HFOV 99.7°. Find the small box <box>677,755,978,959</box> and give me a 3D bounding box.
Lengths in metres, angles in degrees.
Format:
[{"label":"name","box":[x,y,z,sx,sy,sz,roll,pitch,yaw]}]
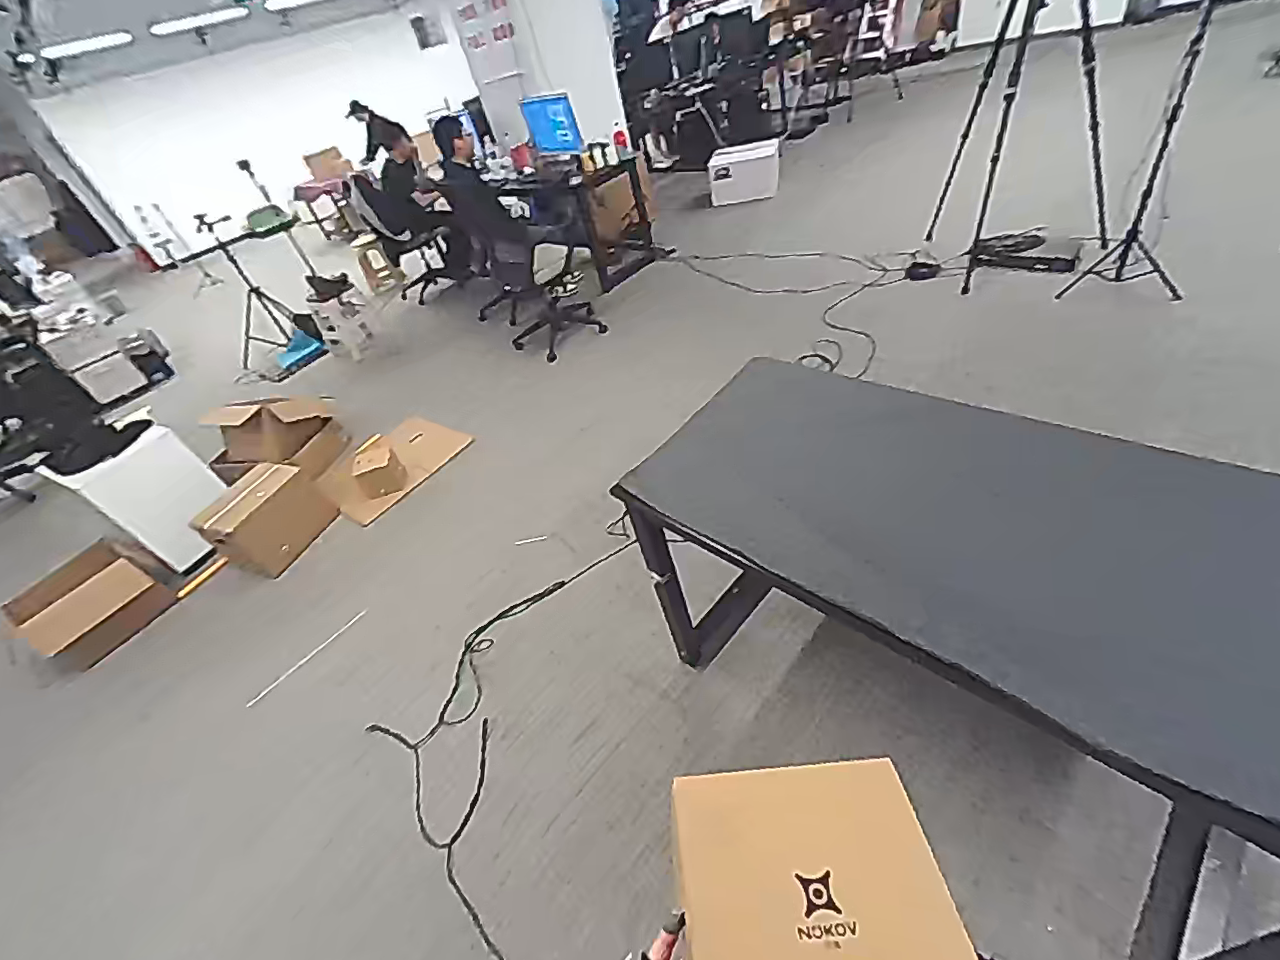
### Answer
[{"label":"small box","box":[0.115,0.327,0.384,0.168,0.176,0.179,-4,38,-1]}]
